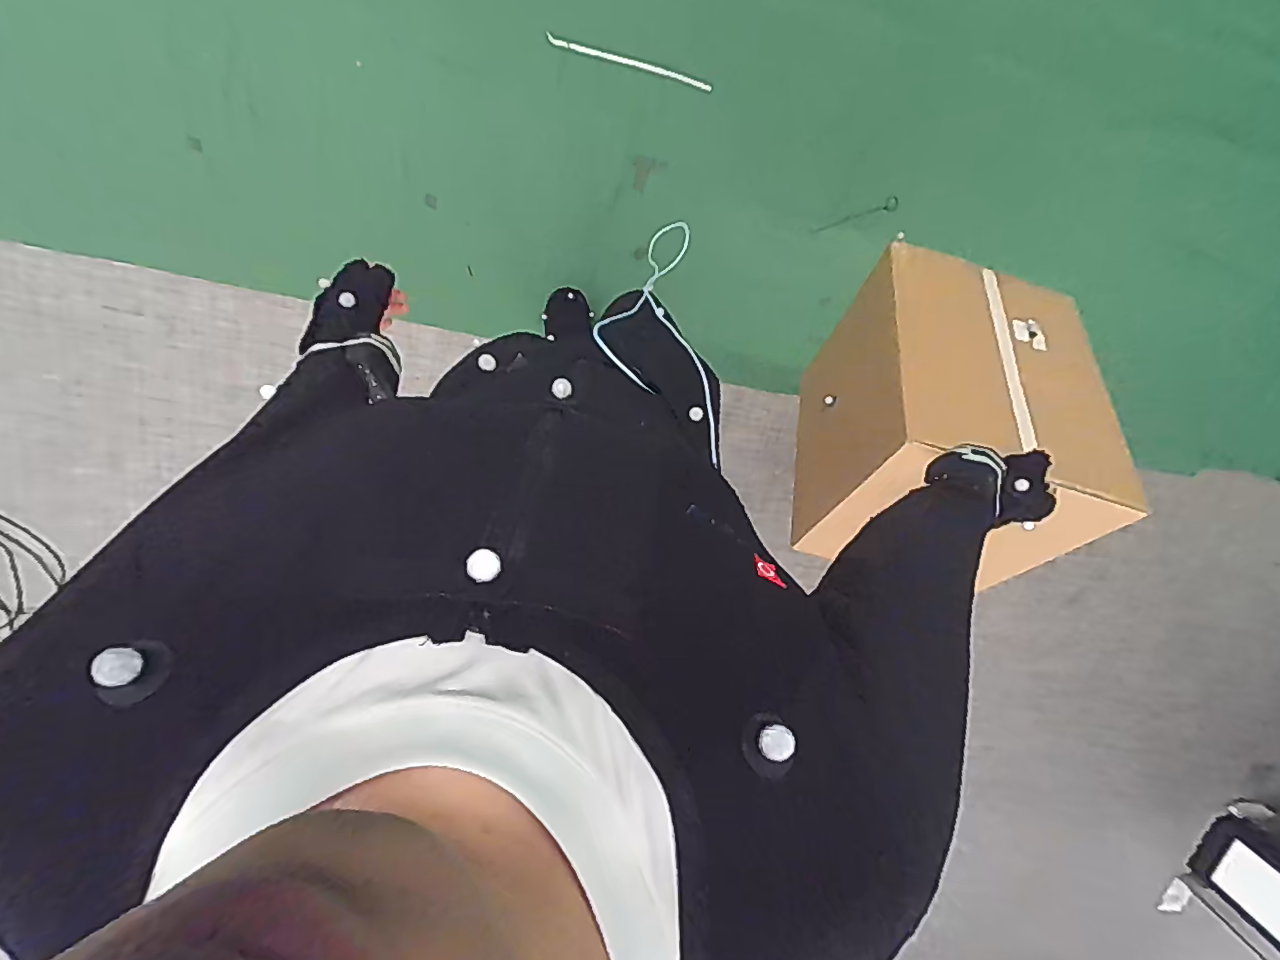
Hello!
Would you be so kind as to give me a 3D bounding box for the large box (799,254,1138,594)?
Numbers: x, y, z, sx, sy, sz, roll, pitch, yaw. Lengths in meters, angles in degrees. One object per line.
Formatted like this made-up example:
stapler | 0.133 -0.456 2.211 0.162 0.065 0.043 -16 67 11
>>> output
large box | 0.468 -0.081 0.878 0.320 0.408 0.320 17 146 -3
